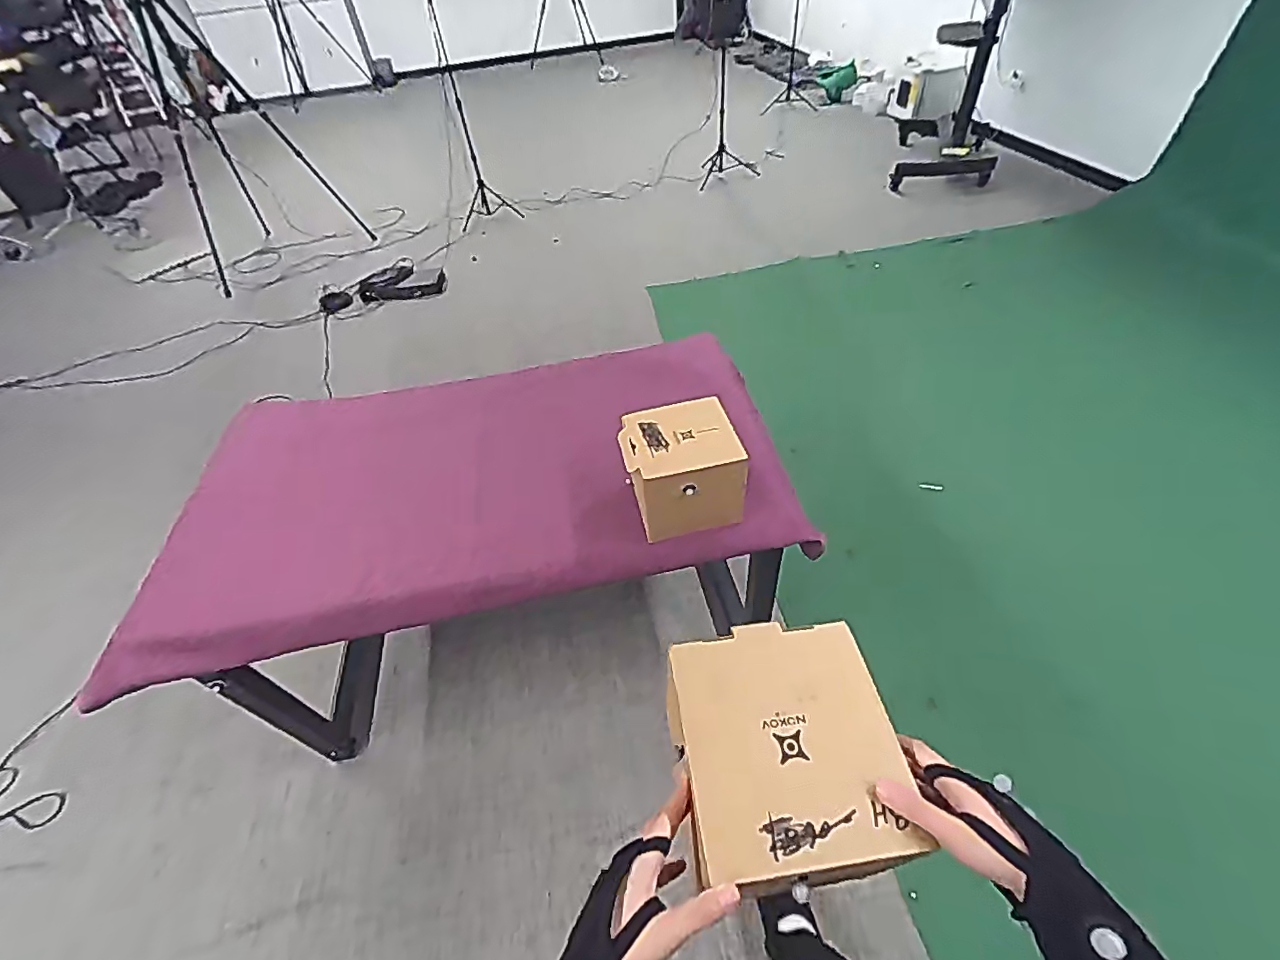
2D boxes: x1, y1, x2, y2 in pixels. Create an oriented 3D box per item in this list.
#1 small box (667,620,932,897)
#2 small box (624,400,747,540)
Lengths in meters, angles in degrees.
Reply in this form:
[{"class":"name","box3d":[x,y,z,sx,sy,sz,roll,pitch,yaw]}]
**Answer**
[{"class":"small box","box3d":[0.117,0.252,0.490,0.168,0.176,0.179,-7,49,-3]},{"class":"small box","box3d":[0.080,-0.014,0.964,0.179,0.176,0.168,-12,47,-5]}]
